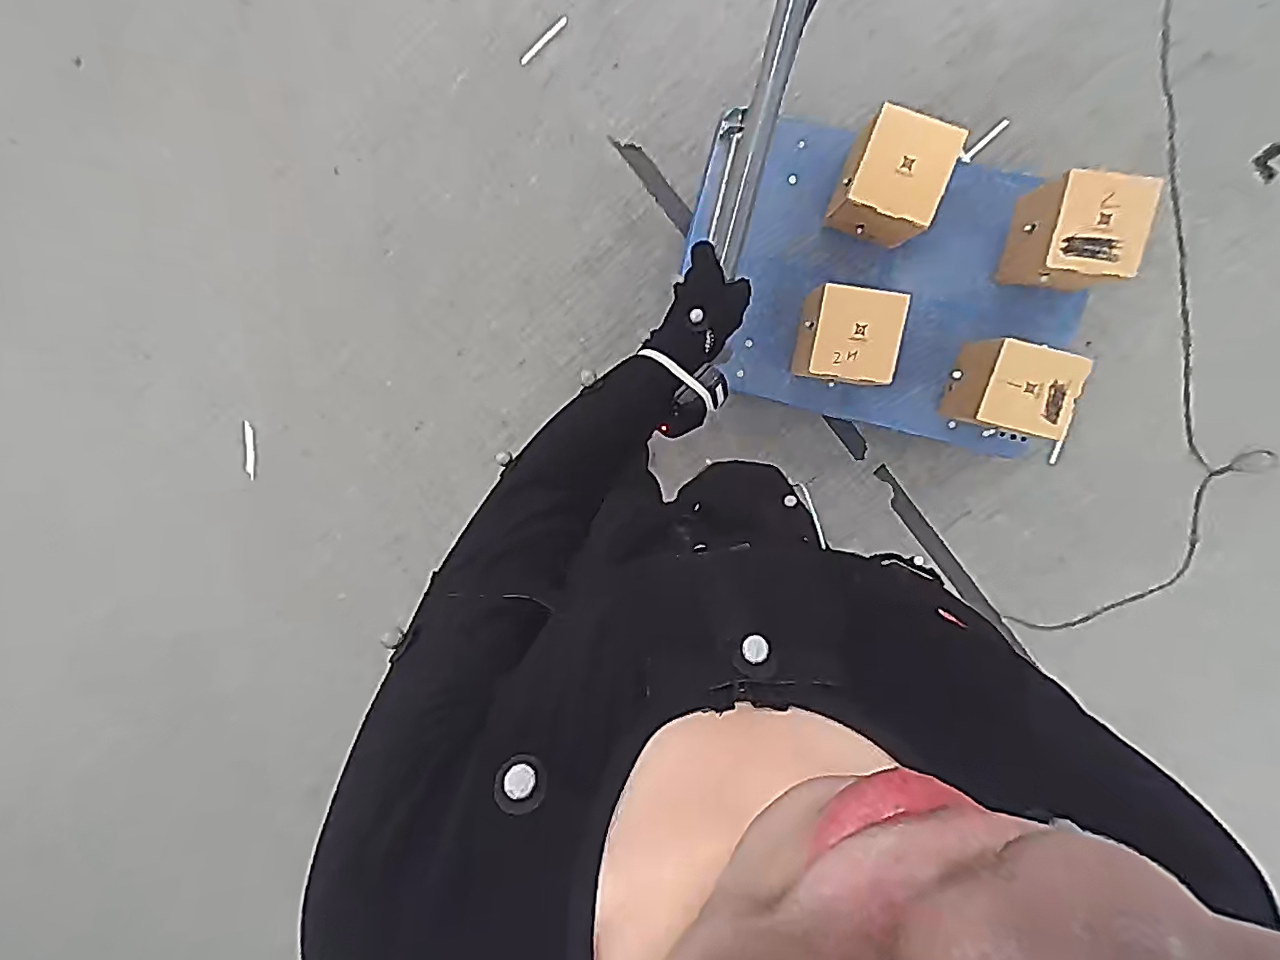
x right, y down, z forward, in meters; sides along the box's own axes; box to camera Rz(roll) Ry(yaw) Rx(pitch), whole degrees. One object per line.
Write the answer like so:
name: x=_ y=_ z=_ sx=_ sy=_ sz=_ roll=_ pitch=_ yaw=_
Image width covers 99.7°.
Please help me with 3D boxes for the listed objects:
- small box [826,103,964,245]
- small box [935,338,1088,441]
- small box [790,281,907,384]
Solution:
small box: x=0.493 y=-0.597 z=1.078 sx=0.168 sy=0.176 sz=0.179 roll=19 pitch=102 yaw=-1
small box: x=0.767 y=-0.191 z=1.137 sx=0.179 sy=0.176 sz=0.168 roll=15 pitch=101 yaw=1
small box: x=0.426 y=-0.302 z=1.134 sx=0.168 sy=0.176 sz=0.179 roll=9 pitch=101 yaw=1
